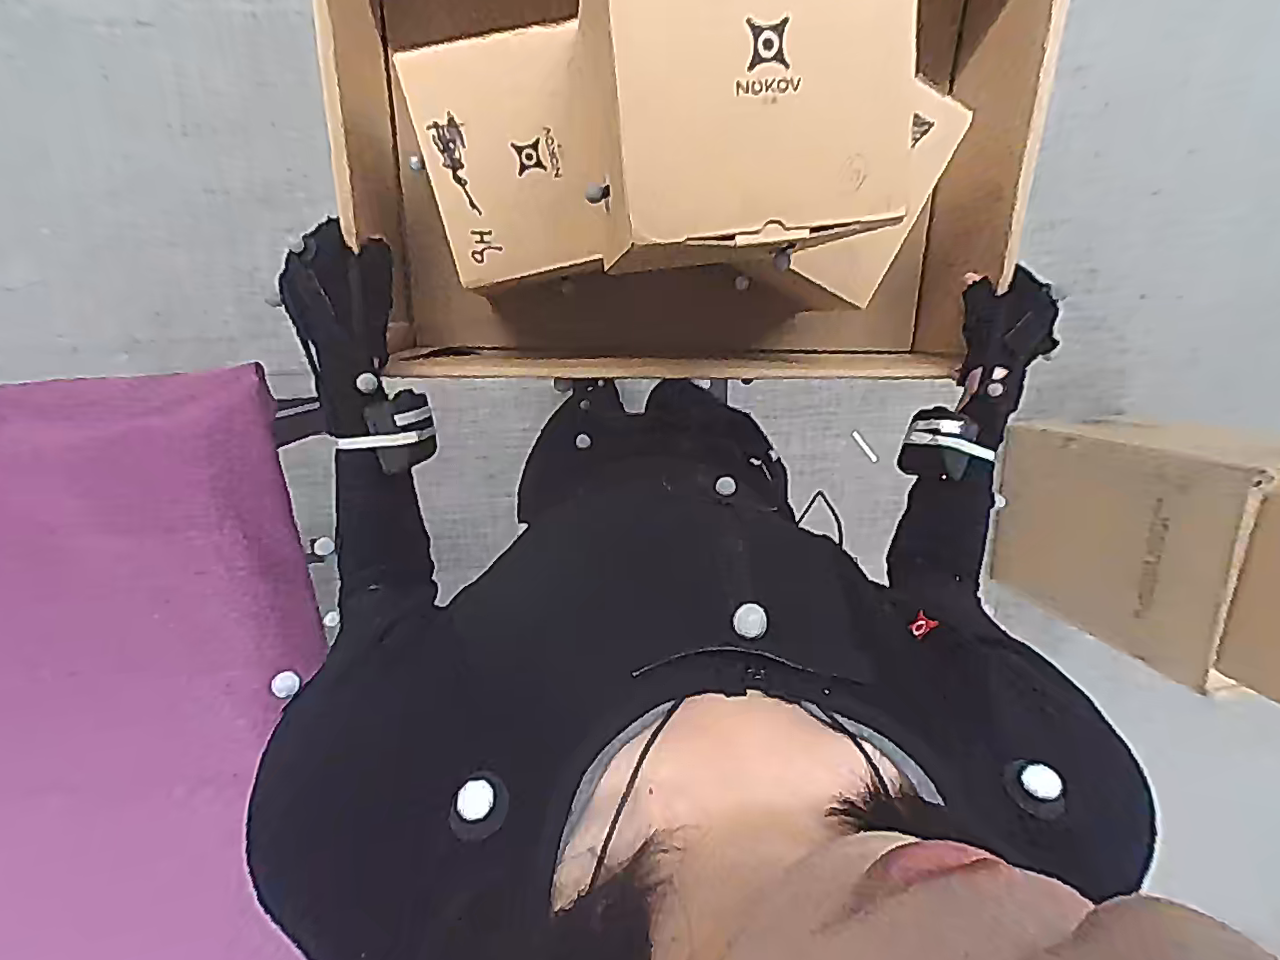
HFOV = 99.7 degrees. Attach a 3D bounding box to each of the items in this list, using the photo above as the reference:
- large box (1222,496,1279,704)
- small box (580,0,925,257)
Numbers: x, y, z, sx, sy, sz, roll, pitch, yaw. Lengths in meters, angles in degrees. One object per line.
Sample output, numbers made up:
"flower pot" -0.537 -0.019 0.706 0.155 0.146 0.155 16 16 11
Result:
"large box" 1.383 0.247 0.965 0.320 0.320 0.408 -2 105 -6
"small box" 0.055 -0.246 0.347 0.168 0.176 0.179 -9 107 -7
